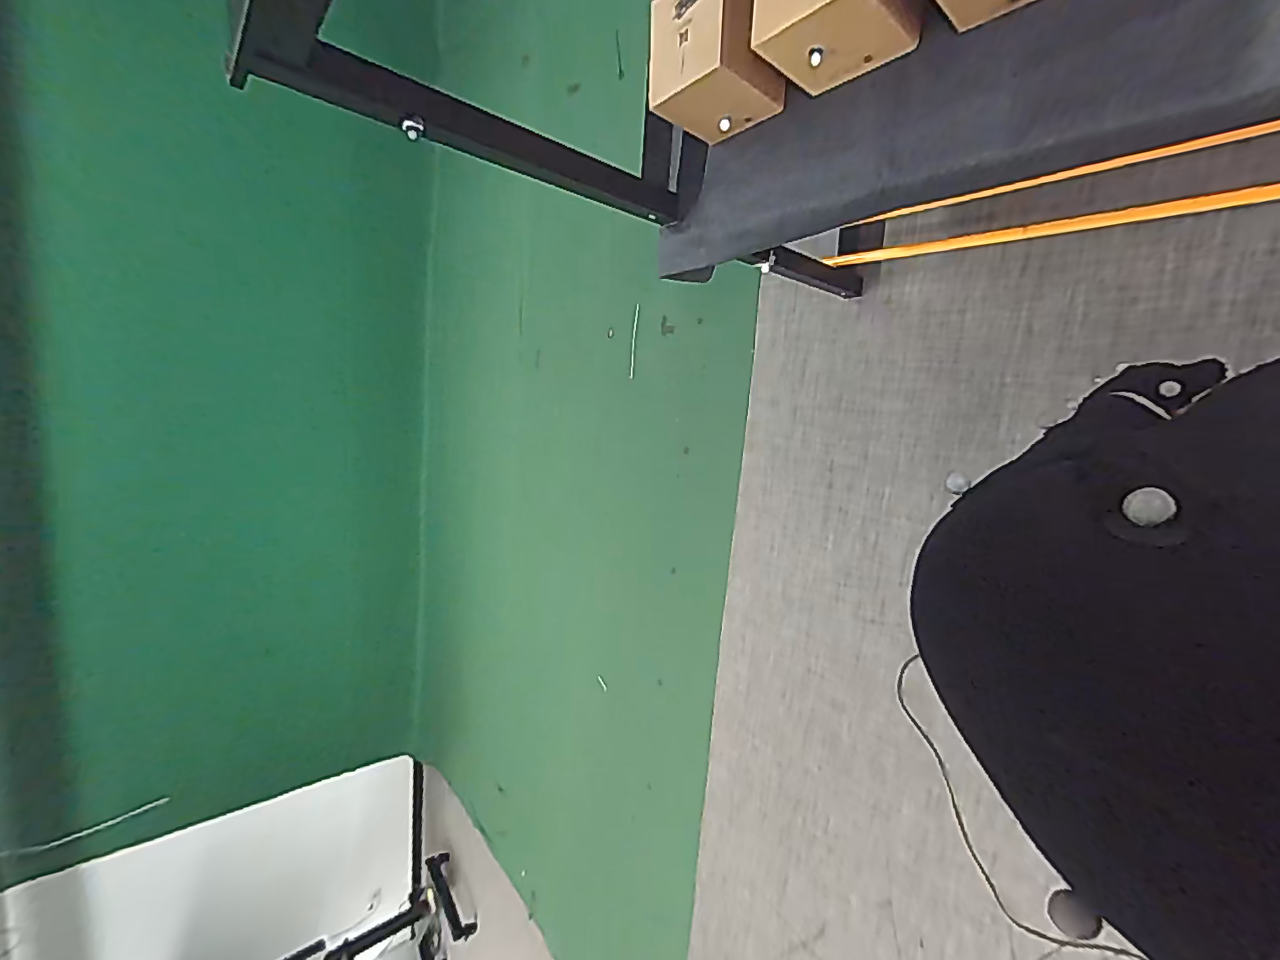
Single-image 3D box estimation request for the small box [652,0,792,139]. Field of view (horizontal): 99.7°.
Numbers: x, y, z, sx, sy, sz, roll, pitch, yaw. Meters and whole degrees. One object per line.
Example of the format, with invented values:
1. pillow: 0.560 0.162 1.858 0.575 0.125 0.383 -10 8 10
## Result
1. small box: 0.140 -0.724 0.916 0.168 0.176 0.179 9 99 49
